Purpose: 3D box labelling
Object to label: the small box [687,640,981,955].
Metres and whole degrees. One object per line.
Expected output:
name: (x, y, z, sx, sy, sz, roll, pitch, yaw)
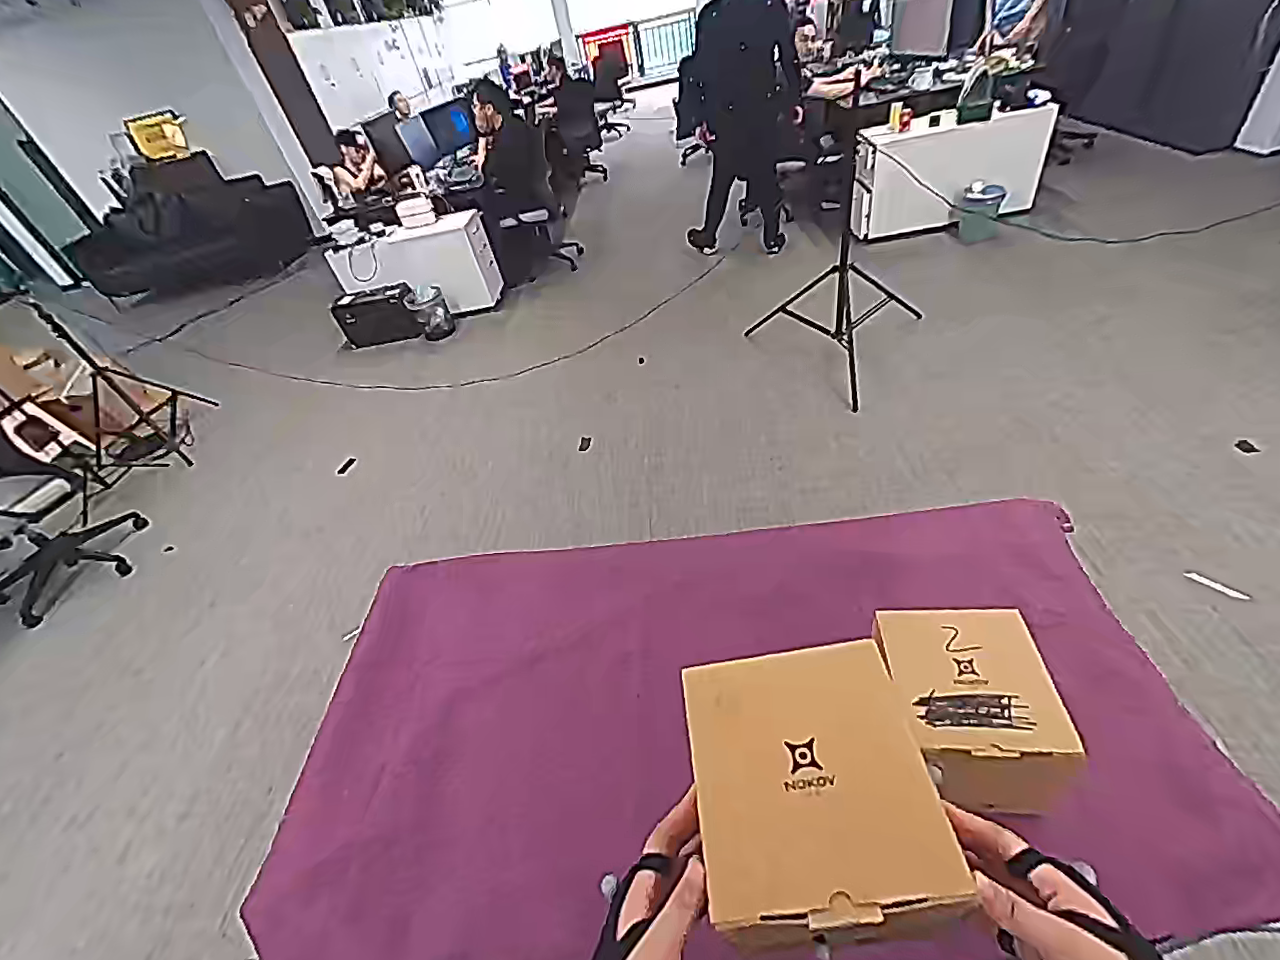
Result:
small box: (0.137, 0.262, 0.447, 0.168, 0.176, 0.179, -11, 43, 5)
